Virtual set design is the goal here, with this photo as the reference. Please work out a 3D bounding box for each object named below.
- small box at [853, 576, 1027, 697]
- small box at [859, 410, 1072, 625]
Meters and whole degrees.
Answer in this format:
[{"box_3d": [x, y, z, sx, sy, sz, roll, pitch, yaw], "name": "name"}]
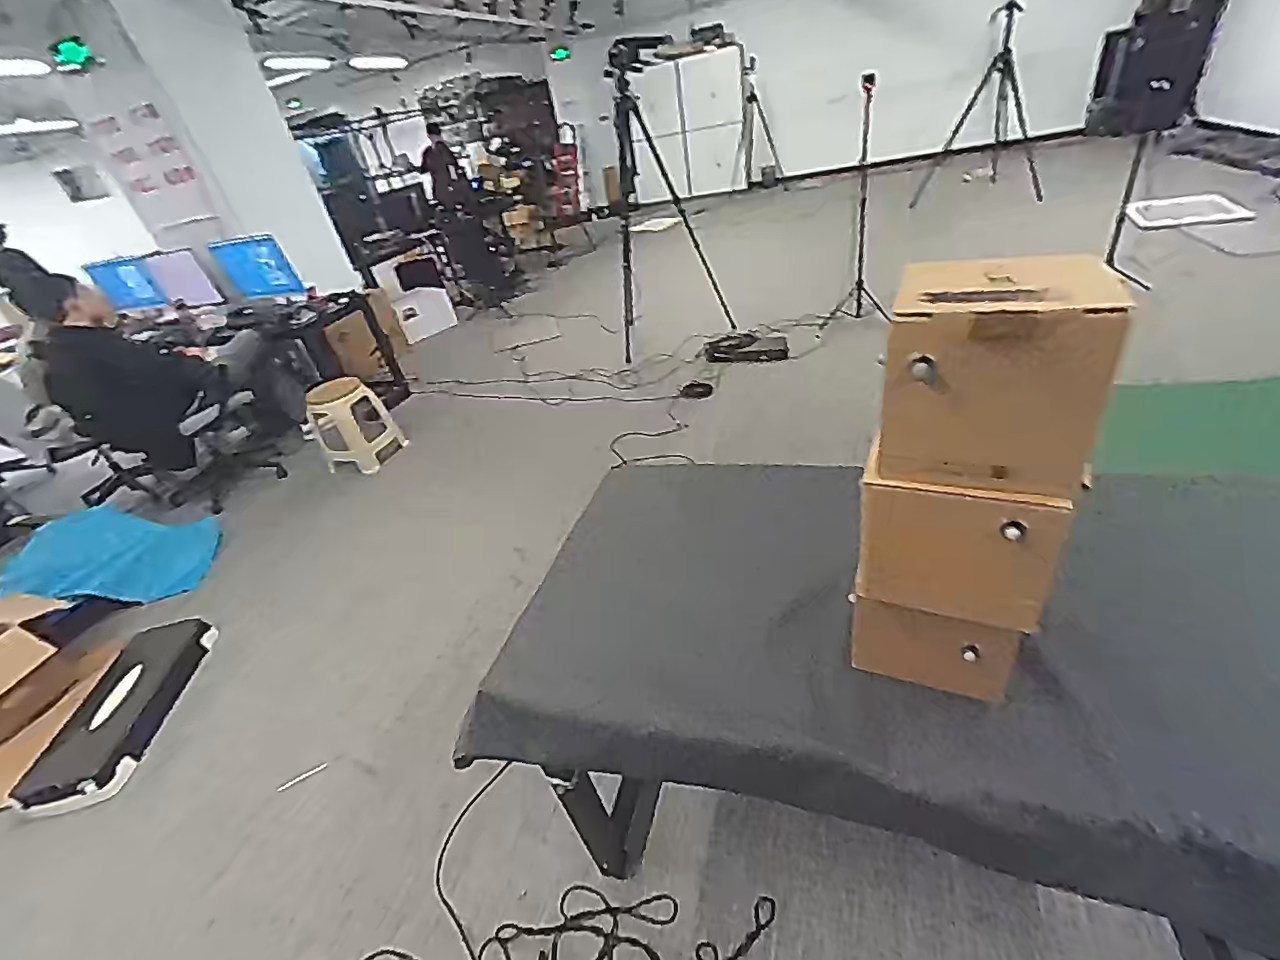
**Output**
[{"box_3d": [0.388, 0.157, 0.716, 0.179, 0.176, 0.168, 6, 37, 27], "name": "small box"}, {"box_3d": [0.353, 0.037, 0.611, 0.179, 0.176, 0.168, 9, 38, 27], "name": "small box"}]
